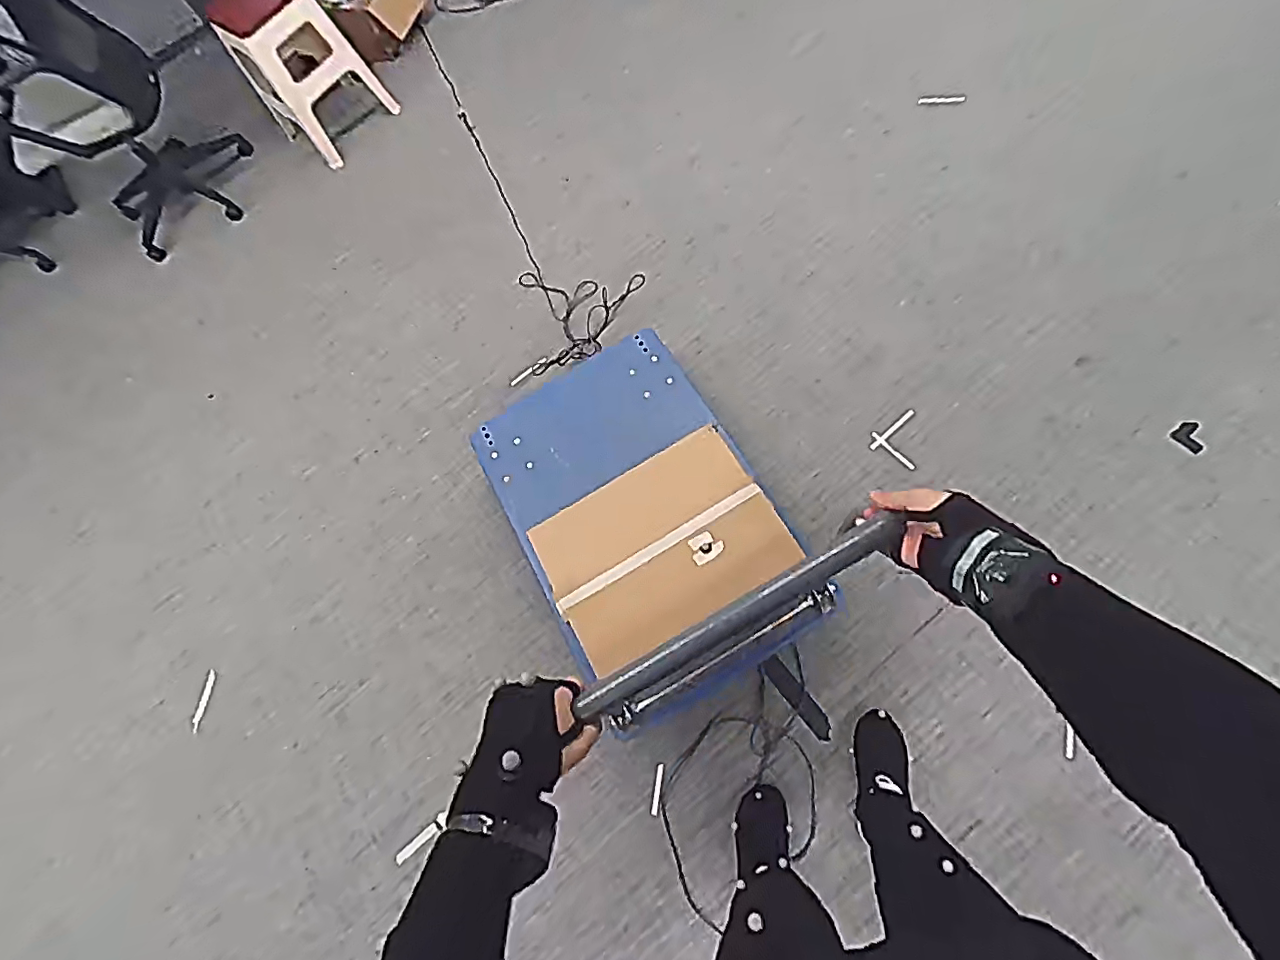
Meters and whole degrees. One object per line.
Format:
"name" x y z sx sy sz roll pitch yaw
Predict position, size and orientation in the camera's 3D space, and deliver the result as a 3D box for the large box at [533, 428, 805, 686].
"large box" 0.063 0.174 1.095 0.408 0.320 0.320 -31 68 -2
